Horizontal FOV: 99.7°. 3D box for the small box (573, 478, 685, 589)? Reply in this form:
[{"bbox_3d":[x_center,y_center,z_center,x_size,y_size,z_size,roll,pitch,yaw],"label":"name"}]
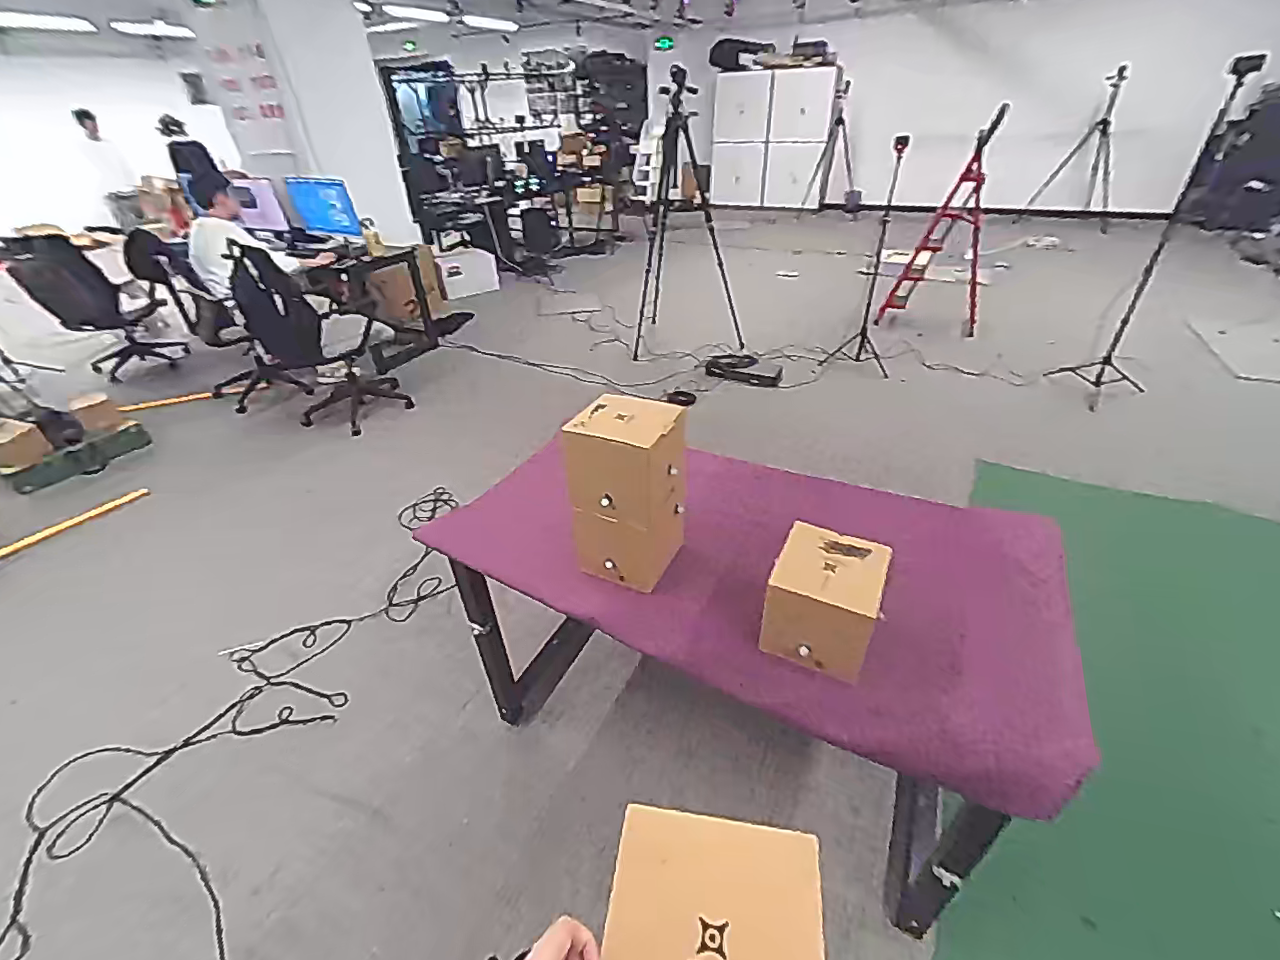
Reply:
[{"bbox_3d":[-0.019,0.089,1.103,0.168,0.176,0.179,14,37,23],"label":"small box"}]

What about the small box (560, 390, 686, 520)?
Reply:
[{"bbox_3d":[-0.026,-0.046,1.011,0.179,0.176,0.168,15,36,22],"label":"small box"}]

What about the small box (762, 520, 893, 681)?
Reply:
[{"bbox_3d":[0.314,0.201,0.922,0.168,0.176,0.179,15,39,25],"label":"small box"}]
